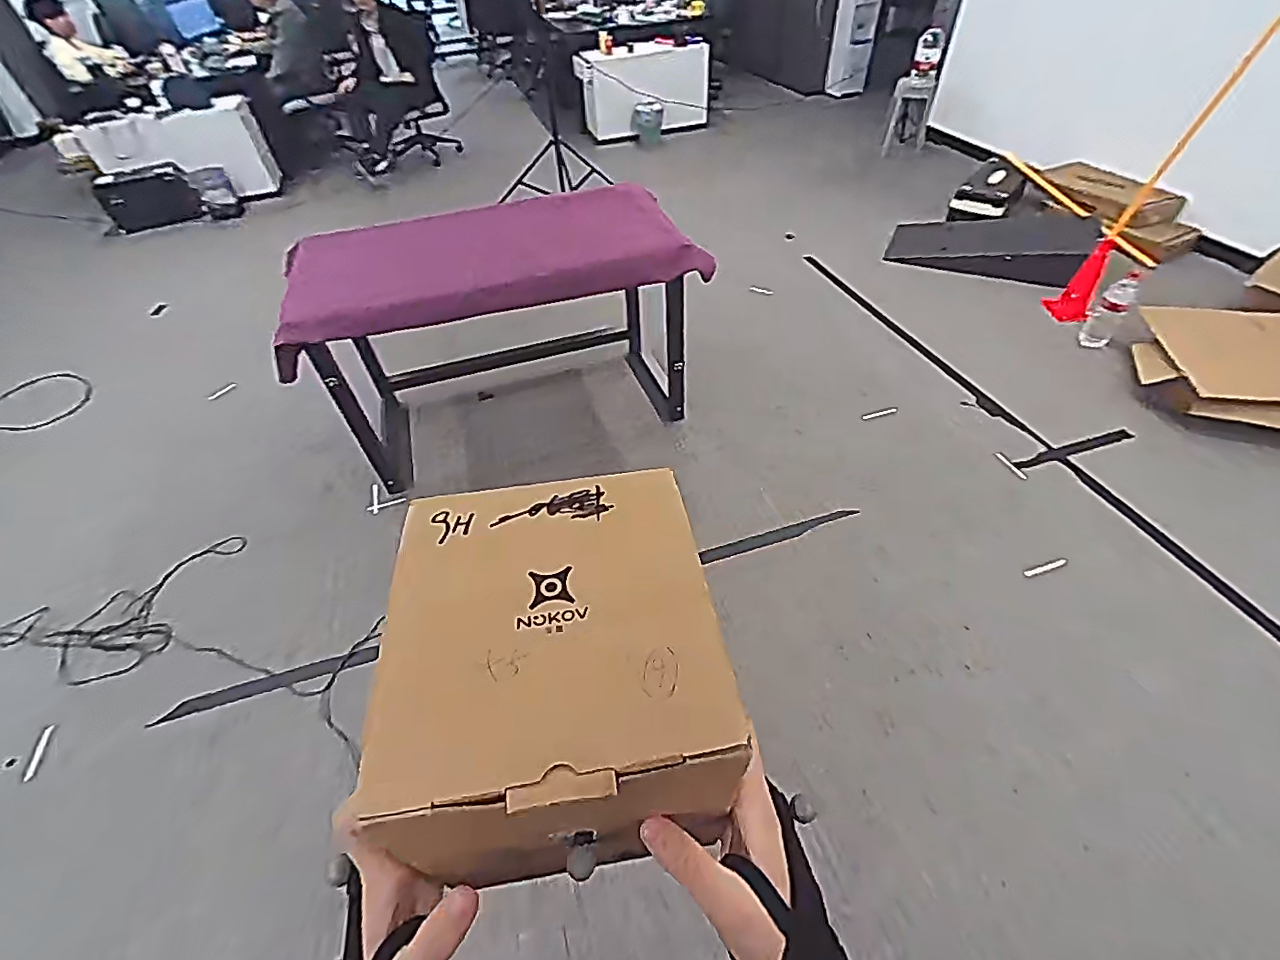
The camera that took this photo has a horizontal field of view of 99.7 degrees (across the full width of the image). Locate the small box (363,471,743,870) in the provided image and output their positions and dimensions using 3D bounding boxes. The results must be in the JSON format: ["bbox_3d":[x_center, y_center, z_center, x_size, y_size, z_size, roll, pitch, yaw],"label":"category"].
[{"bbox_3d":[-0.045,0.122,0.340,0.168,0.176,0.179,-8,46,-6],"label":"small box"}]
